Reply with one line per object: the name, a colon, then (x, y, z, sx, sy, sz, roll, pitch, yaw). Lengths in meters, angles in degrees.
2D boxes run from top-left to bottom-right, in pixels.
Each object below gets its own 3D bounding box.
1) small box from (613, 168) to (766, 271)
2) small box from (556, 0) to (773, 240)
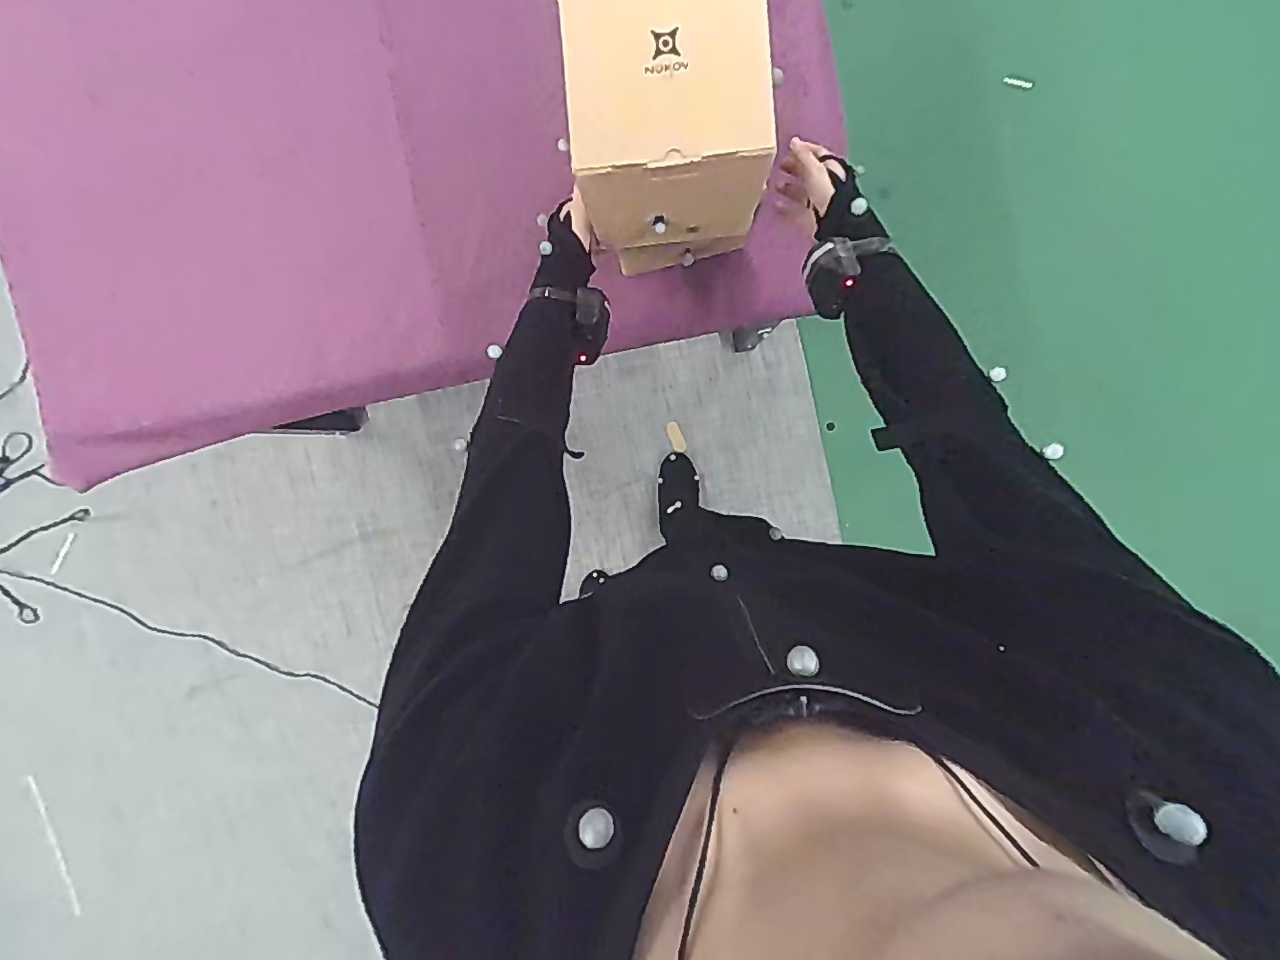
small box: (0.038, -0.380, 0.662, 0.179, 0.176, 0.168, -13, 91, 4)
small box: (0.021, -0.349, 0.501, 0.168, 0.176, 0.179, -5, 94, 4)
